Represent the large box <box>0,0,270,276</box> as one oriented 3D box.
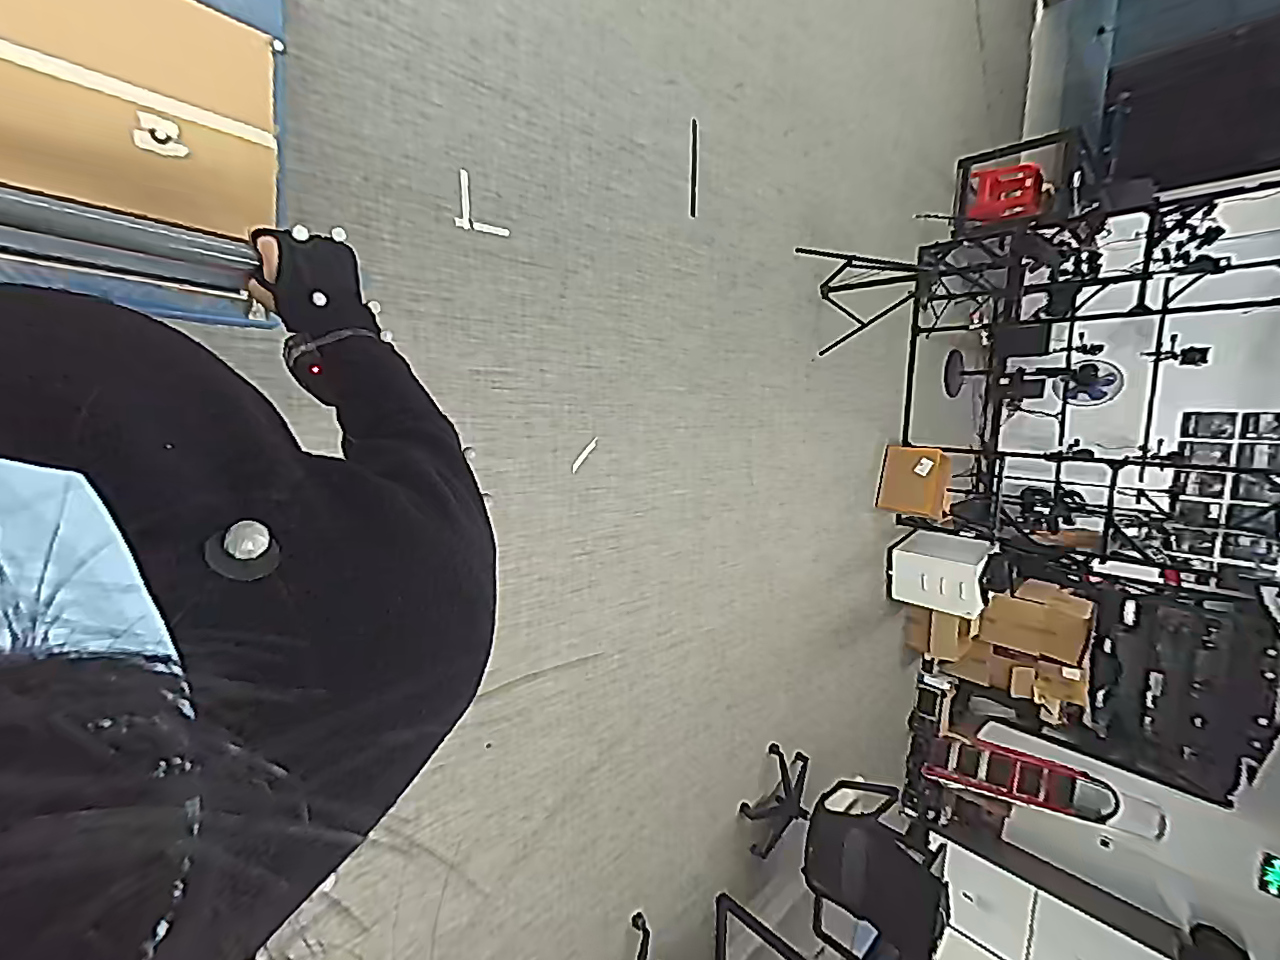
[{"bbox_3d":[-0.827,-0.525,0.804,0.408,0.320,0.320,-2,99,-46],"label":"large box"}]
